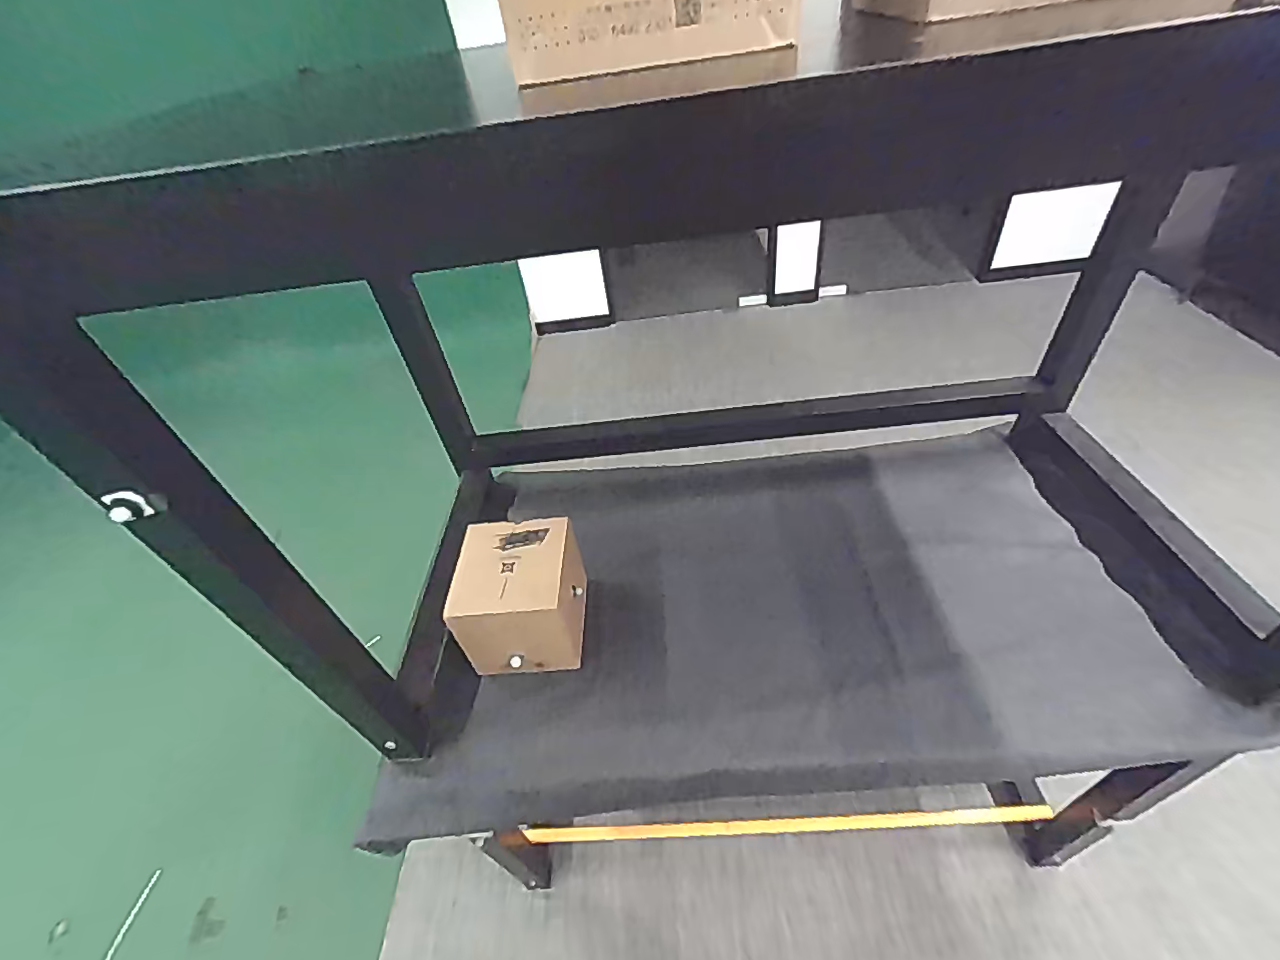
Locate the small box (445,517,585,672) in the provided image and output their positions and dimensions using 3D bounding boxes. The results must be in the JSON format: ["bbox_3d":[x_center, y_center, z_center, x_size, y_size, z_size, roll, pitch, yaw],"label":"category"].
[{"bbox_3d":[-0.186,0.183,0.865,0.168,0.176,0.179,-5,43,4],"label":"small box"}]

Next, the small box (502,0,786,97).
[{"bbox_3d":[-0.002,-0.354,0.335,0.168,0.176,0.179,-5,42,4],"label":"small box"}]
